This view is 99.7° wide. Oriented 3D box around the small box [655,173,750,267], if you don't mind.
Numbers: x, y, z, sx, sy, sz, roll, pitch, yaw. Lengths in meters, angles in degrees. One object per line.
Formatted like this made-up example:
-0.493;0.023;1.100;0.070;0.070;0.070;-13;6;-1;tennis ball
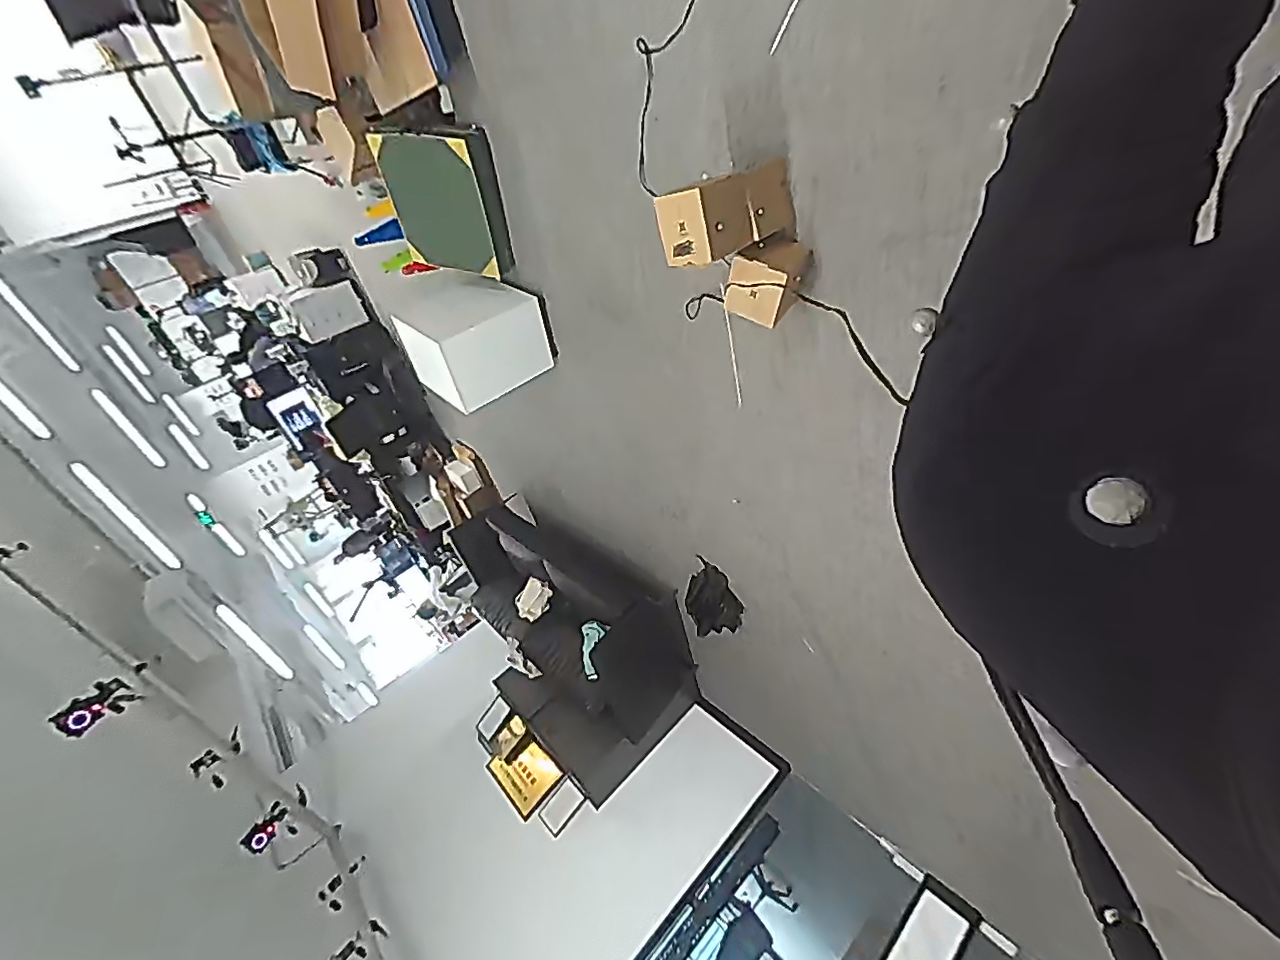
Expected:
0.169;-0.674;1.411;0.168;0.176;0.179;20;137;47;small box

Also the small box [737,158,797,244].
0.297;-0.753;1.486;0.179;0.176;0.168;13;135;53;small box
